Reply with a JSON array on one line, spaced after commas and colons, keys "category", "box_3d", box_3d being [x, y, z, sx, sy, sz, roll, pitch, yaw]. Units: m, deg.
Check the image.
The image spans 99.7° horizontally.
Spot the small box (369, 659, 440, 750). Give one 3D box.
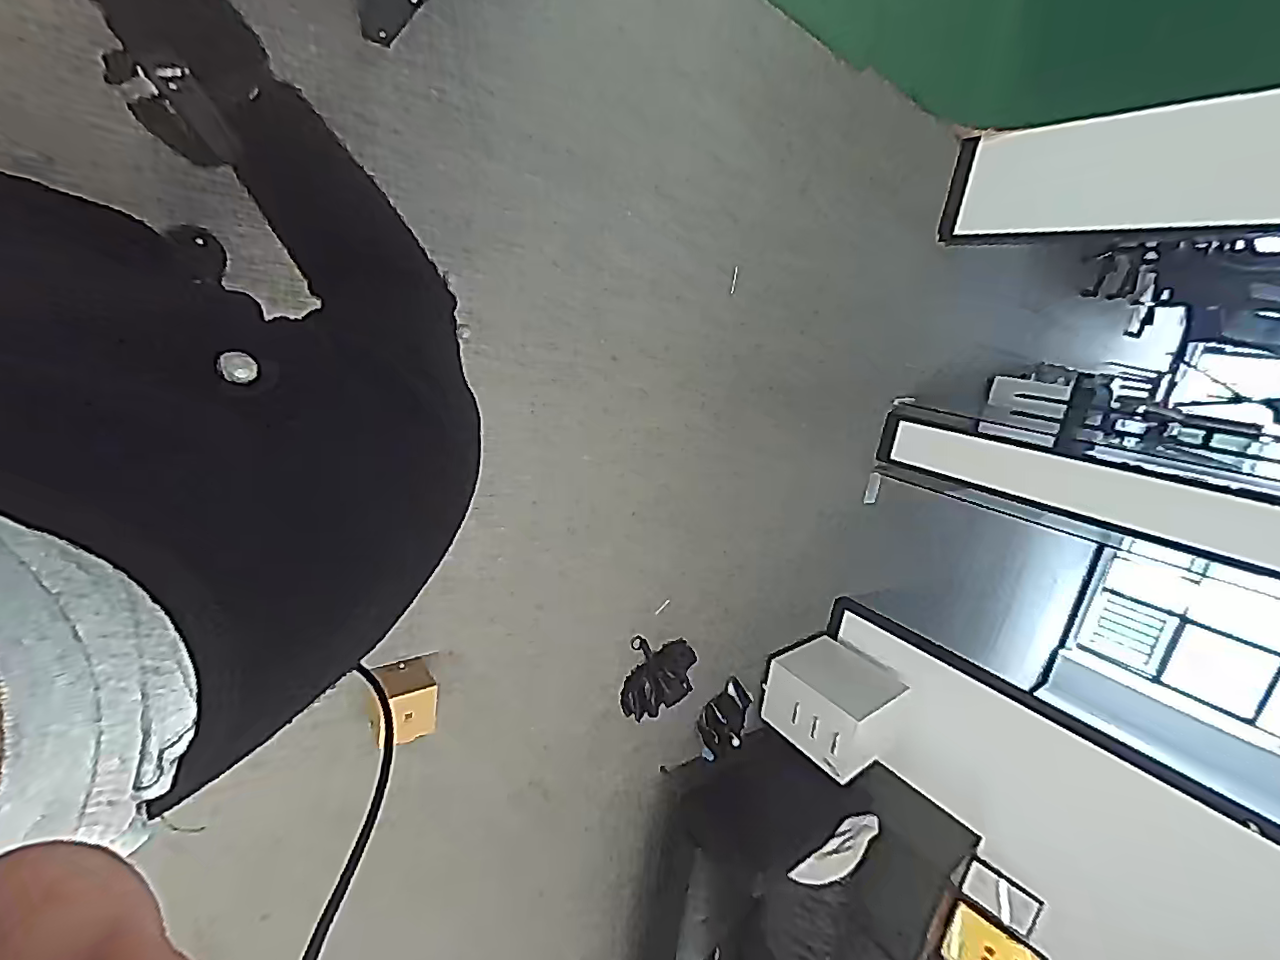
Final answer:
[{"category": "small box", "box_3d": [-0.740, 0.694, 1.692, 0.168, 0.176, 0.179, -5, 110, -39]}]
